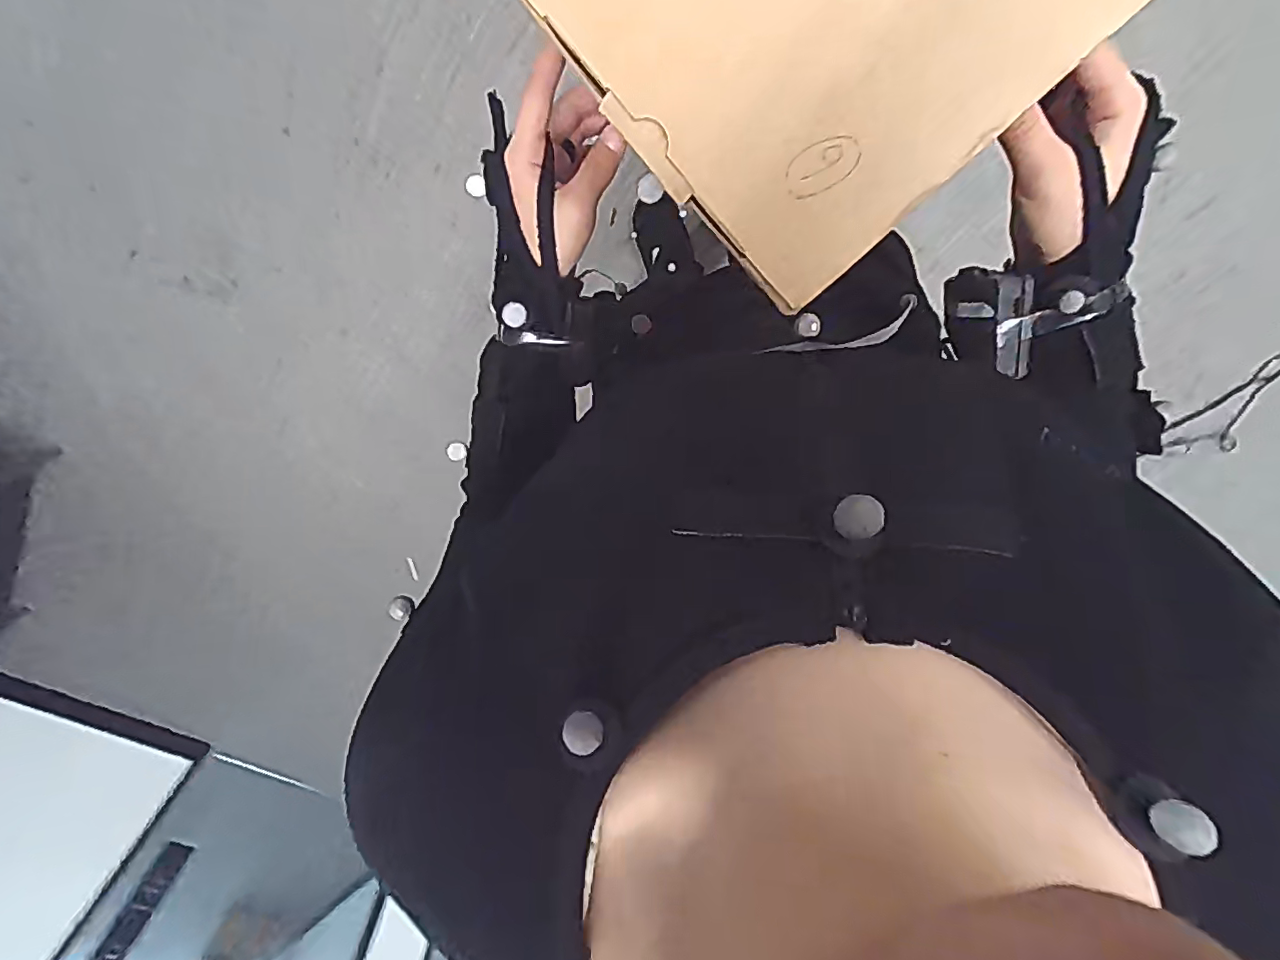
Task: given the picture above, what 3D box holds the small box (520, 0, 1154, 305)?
[{"bbox_3d":[0.076,-0.206,0.235,0.179,0.176,0.168,-39,104,23],"label":"small box"}]
